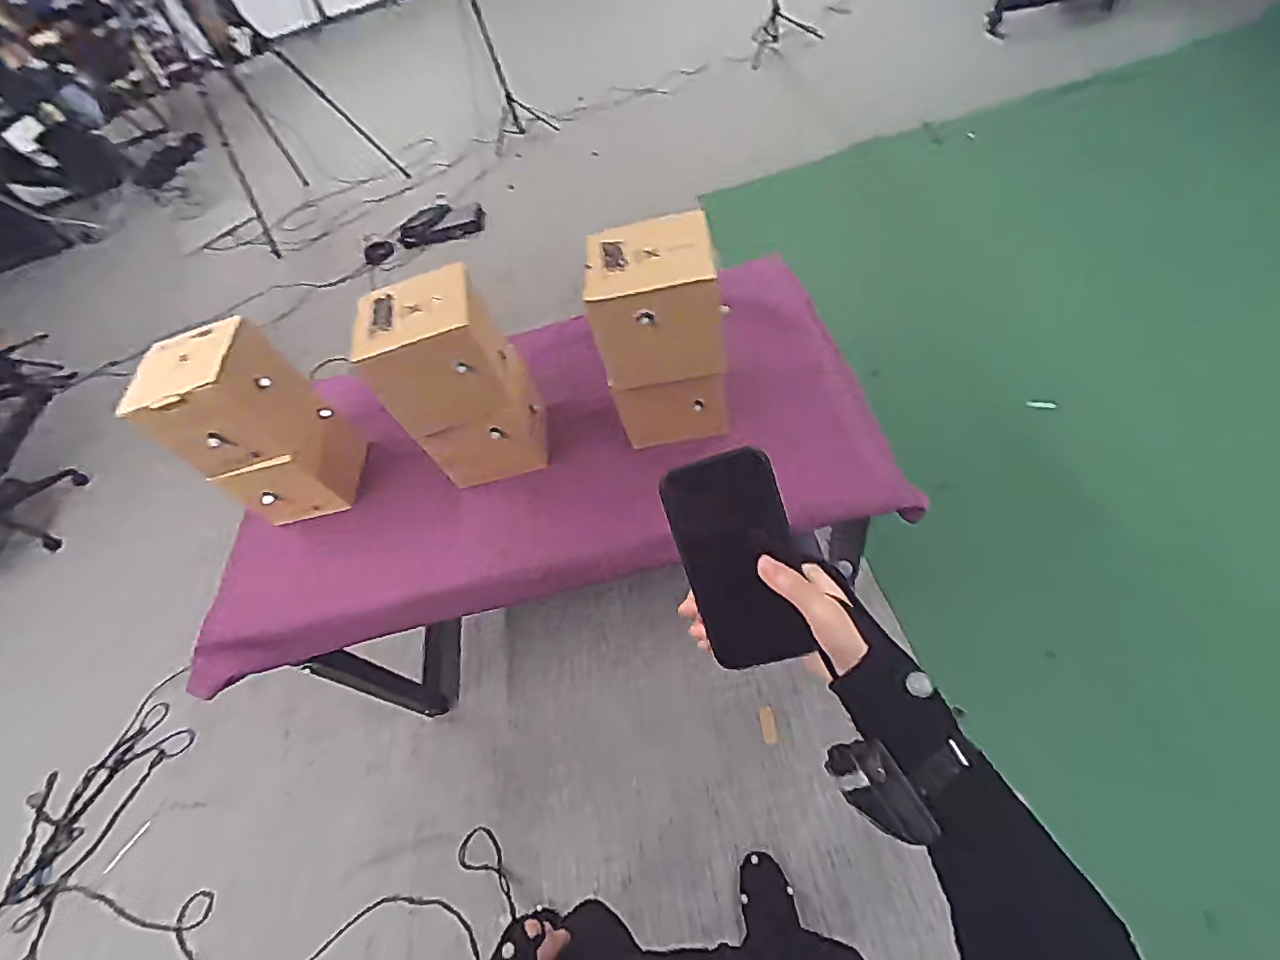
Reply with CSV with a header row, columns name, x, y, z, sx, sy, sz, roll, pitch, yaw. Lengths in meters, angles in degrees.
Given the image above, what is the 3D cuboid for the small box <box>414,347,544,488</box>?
name,x,y,z,sx,sy,sz,roll,pitch,yaw
small box,-0.281,-0.109,0.989,0.179,0.176,0.168,-14,53,6

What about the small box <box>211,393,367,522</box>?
name,x,y,z,sx,sy,sz,roll,pitch,yaw
small box,-0.660,-0.034,1.043,0.168,0.176,0.179,-13,53,6

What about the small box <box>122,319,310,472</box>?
name,x,y,z,sx,sy,sz,roll,pitch,yaw
small box,-0.698,-0.133,0.917,0.168,0.176,0.179,-17,54,3

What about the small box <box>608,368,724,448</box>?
name,x,y,z,sx,sy,sz,roll,pitch,yaw
small box,0.051,-0.176,0.946,0.179,0.176,0.168,-9,54,10

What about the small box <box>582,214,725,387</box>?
name,x,y,z,sx,sy,sz,roll,pitch,yaw
small box,0.025,-0.258,0.805,0.179,0.176,0.168,-8,54,9
